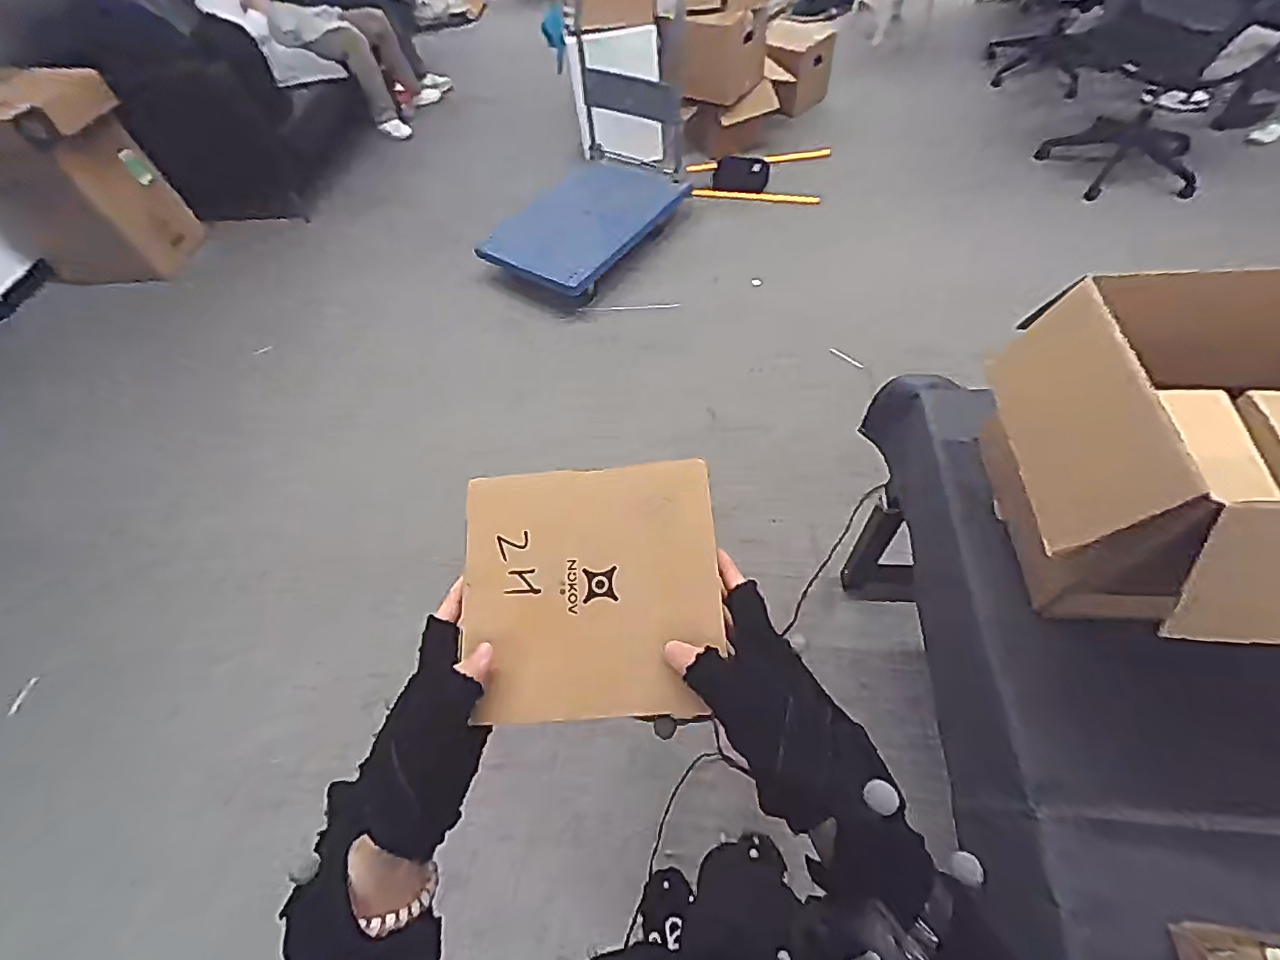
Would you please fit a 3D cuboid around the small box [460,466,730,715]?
[{"bbox_3d":[-0.027,0.096,0.443,0.179,0.176,0.168,-3,70,4],"label":"small box"}]
